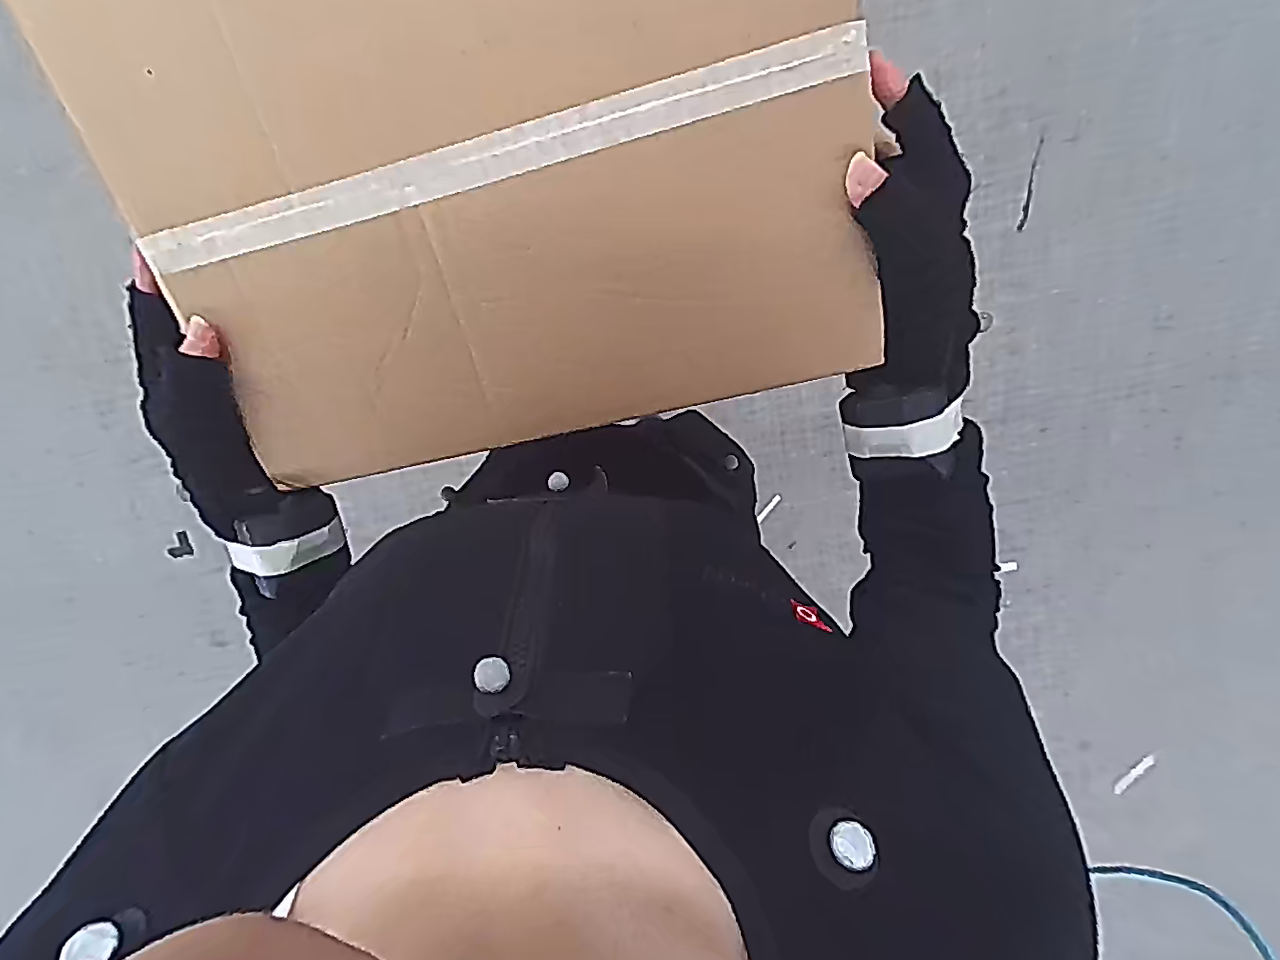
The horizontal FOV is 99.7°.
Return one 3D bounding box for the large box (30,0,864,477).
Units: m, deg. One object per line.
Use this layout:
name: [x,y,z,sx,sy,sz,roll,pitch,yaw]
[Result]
large box: [-0.082,-0.239,0.432,0.408,0.320,0.320,-11,113,8]
